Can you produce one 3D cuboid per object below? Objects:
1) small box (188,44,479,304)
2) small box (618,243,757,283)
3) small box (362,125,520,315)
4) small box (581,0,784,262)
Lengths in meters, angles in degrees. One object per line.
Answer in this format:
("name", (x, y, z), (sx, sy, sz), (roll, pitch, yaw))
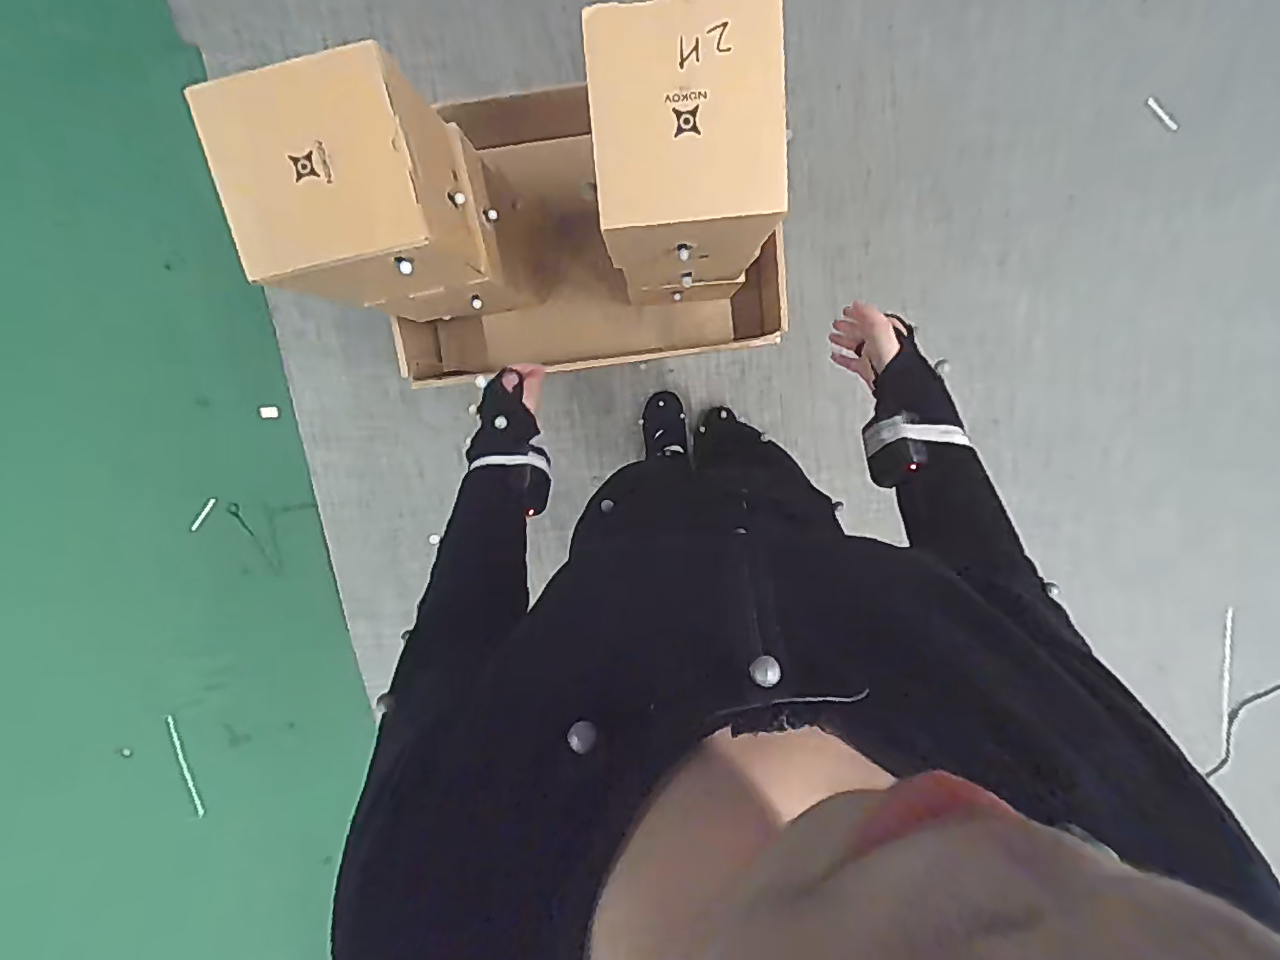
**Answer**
("small box", (-0.289, -0.288, 0.552), (0.179, 0.176, 0.168), (-12, 100, 2))
("small box", (0.054, -0.356, 0.692), (0.168, 0.176, 0.179), (-4, 102, 2))
("small box", (-0.269, -0.321, 0.711), (0.168, 0.176, 0.179), (-11, 100, 3))
("small box", (0.041, -0.321, 0.531), (0.168, 0.176, 0.179), (-4, 100, 2))
